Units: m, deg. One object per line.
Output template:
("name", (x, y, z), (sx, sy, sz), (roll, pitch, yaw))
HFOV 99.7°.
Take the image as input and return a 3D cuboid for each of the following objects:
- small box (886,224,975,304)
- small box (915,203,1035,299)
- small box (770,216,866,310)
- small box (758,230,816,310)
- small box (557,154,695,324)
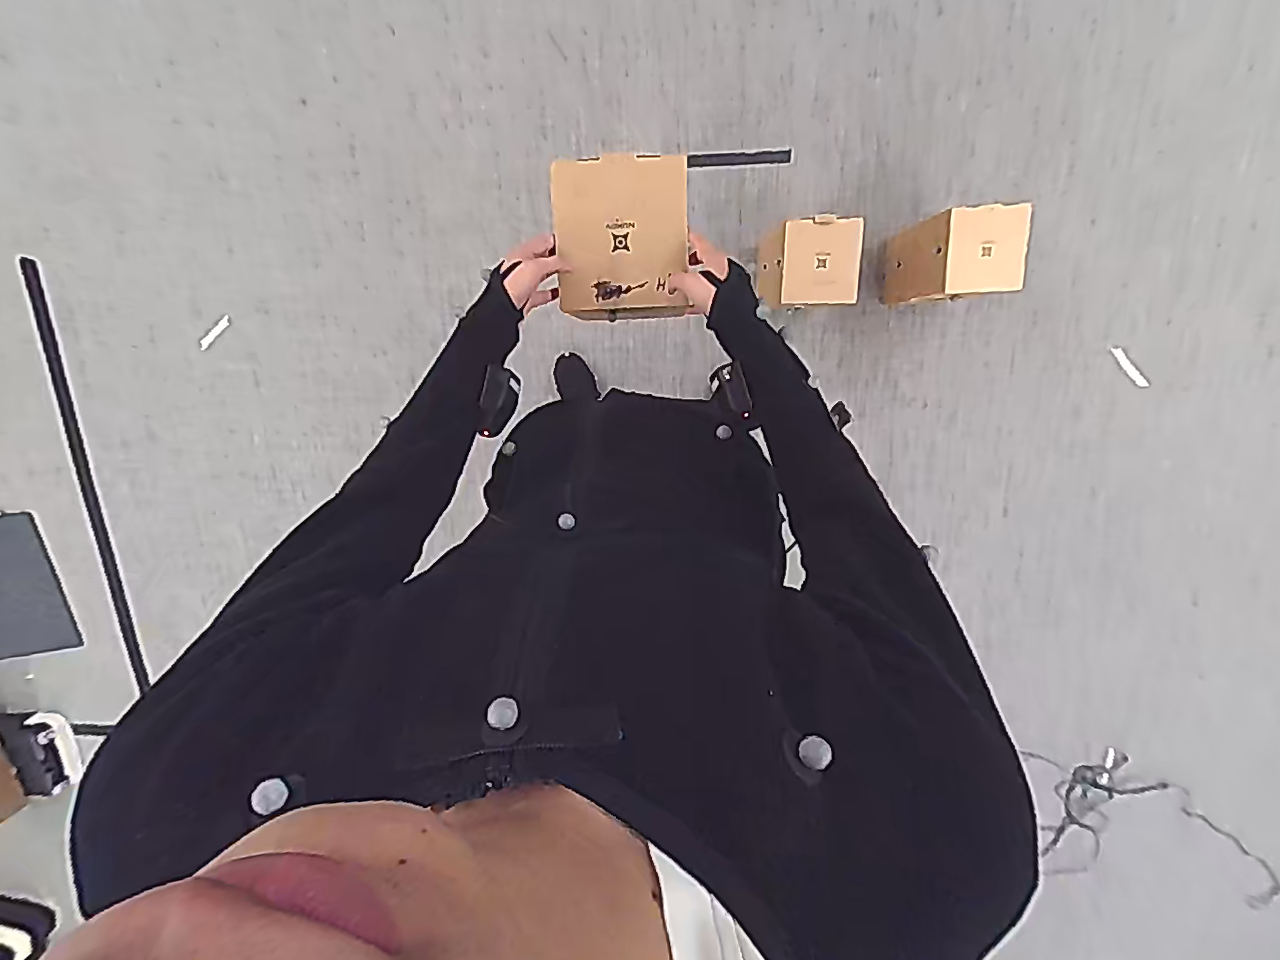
("small box", (0.742, -0.544, 1.372), (0.168, 0.176, 0.179), (-3, 104, 3))
("small box", (0.739, -0.504, 1.215), (0.168, 0.176, 0.179), (-2, 103, 3))
("small box", (0.397, -0.486, 1.231), (0.168, 0.176, 0.179), (1, 104, 3))
("small box", (0.402, -0.533, 1.388), (0.168, 0.176, 0.179), (1, 105, 2))
("small box", (-0.013, -0.310, 0.727), (0.168, 0.176, 0.179), (-1, 102, 4))
